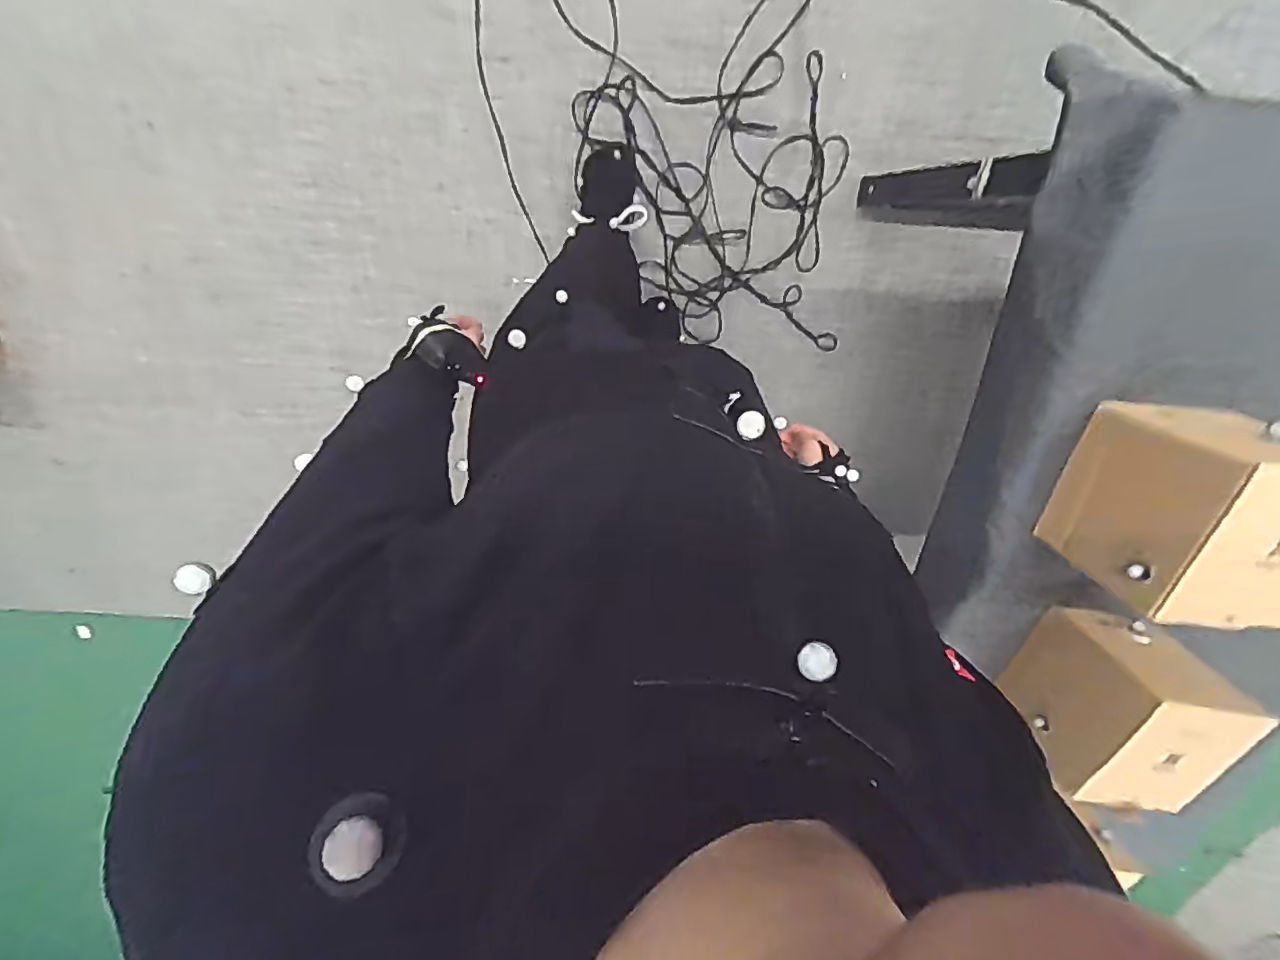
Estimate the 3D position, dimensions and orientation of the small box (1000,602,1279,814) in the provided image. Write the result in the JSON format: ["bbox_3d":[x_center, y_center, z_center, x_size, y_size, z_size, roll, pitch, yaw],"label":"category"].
[{"bbox_3d":[0.612,0.288,0.695,0.168,0.176,0.179,11,115,-9],"label":"small box"}]

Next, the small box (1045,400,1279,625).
[{"bbox_3d":[0.578,0.026,0.561,0.168,0.176,0.179,3,117,-5],"label":"small box"}]
